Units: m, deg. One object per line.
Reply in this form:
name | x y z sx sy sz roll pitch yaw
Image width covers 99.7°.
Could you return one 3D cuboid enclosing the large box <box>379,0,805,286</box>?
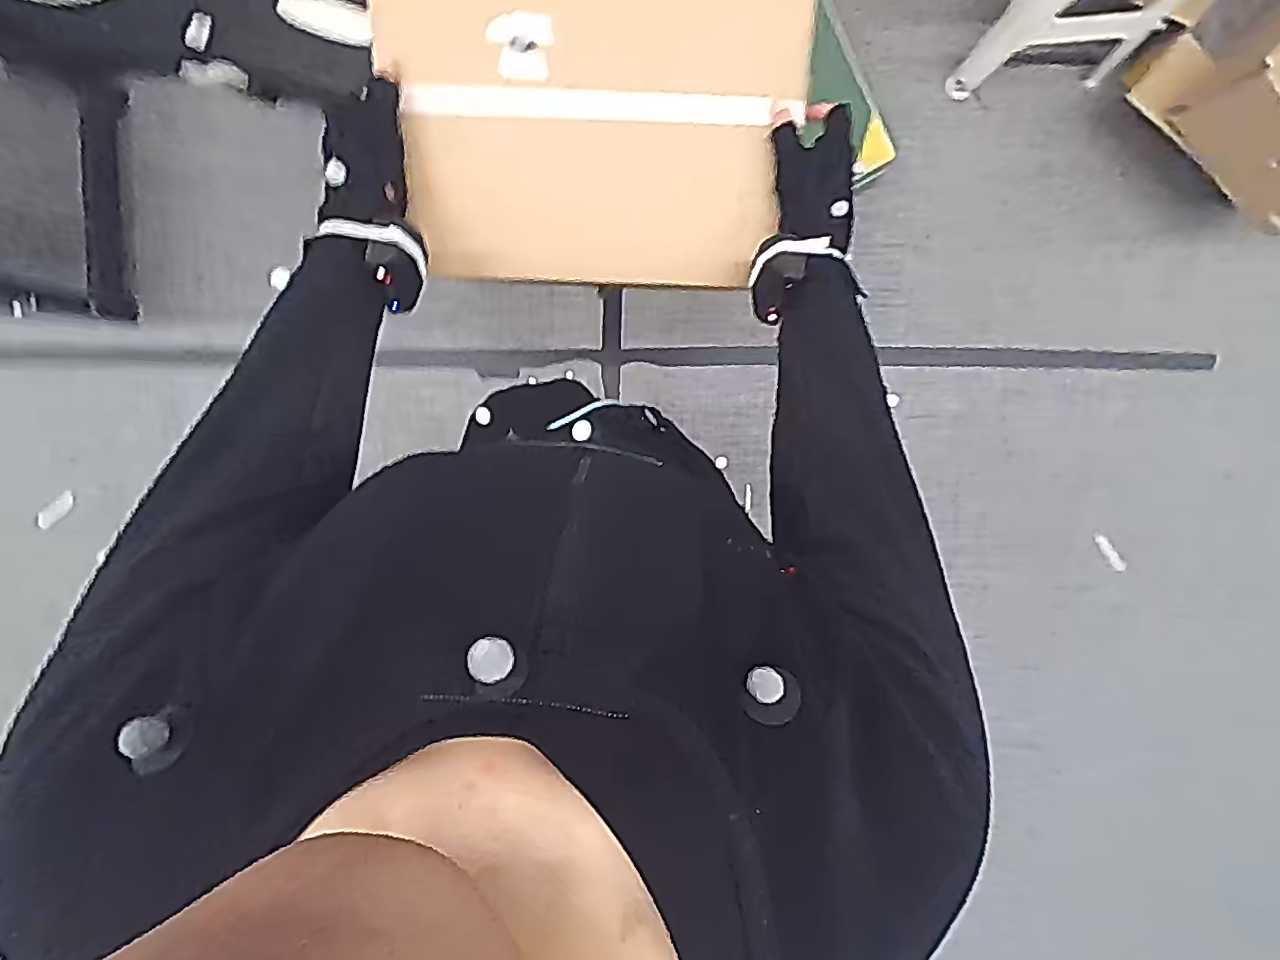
large box | -0.046 -0.408 0.670 0.408 0.320 0.320 2 108 -1
